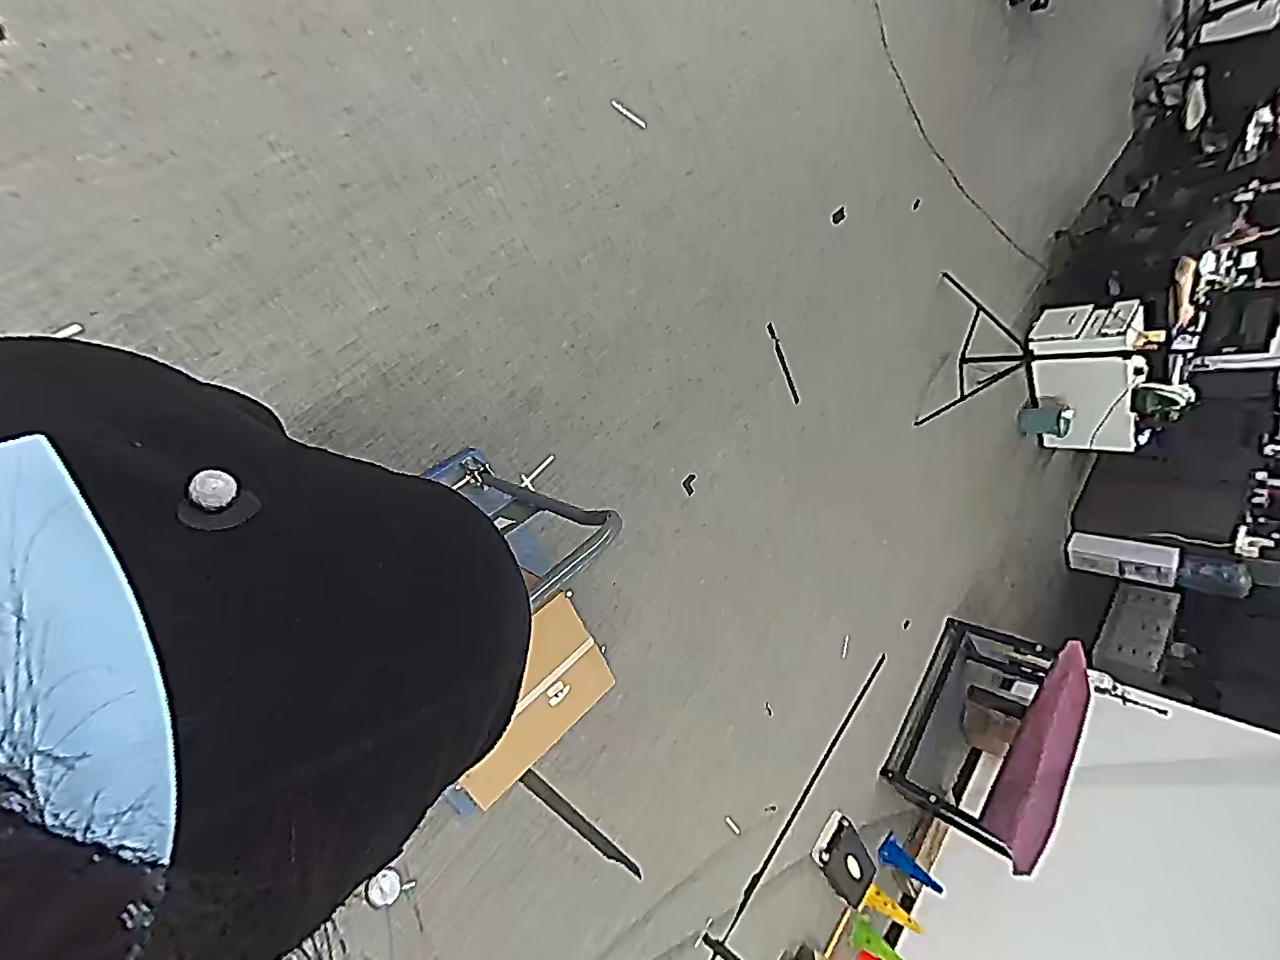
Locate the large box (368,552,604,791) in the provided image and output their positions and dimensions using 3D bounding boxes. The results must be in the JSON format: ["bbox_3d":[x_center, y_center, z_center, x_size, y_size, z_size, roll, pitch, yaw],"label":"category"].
[{"bbox_3d":[-0.375,0.441,1.336,0.408,0.320,0.320,-39,120,-29],"label":"large box"}]
